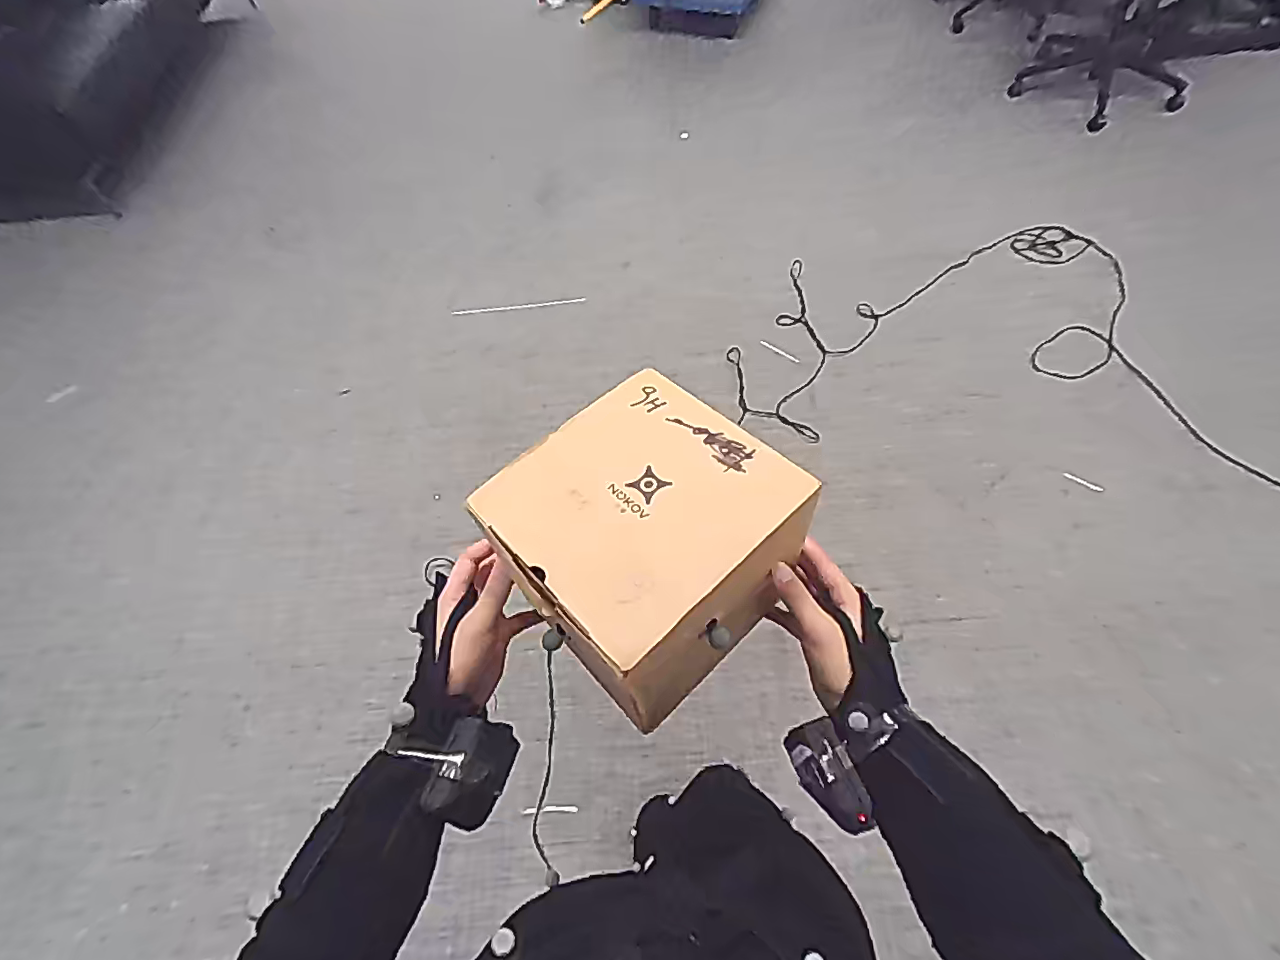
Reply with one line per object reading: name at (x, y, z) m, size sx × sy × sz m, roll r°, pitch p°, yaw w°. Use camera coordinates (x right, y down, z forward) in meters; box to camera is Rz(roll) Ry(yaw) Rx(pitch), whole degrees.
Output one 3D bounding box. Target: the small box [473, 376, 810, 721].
small box at (0.007, 0.059, 0.431) m, size 0.179 × 0.176 × 0.168 m, roll -39°, pitch 60°, yaw -20°
